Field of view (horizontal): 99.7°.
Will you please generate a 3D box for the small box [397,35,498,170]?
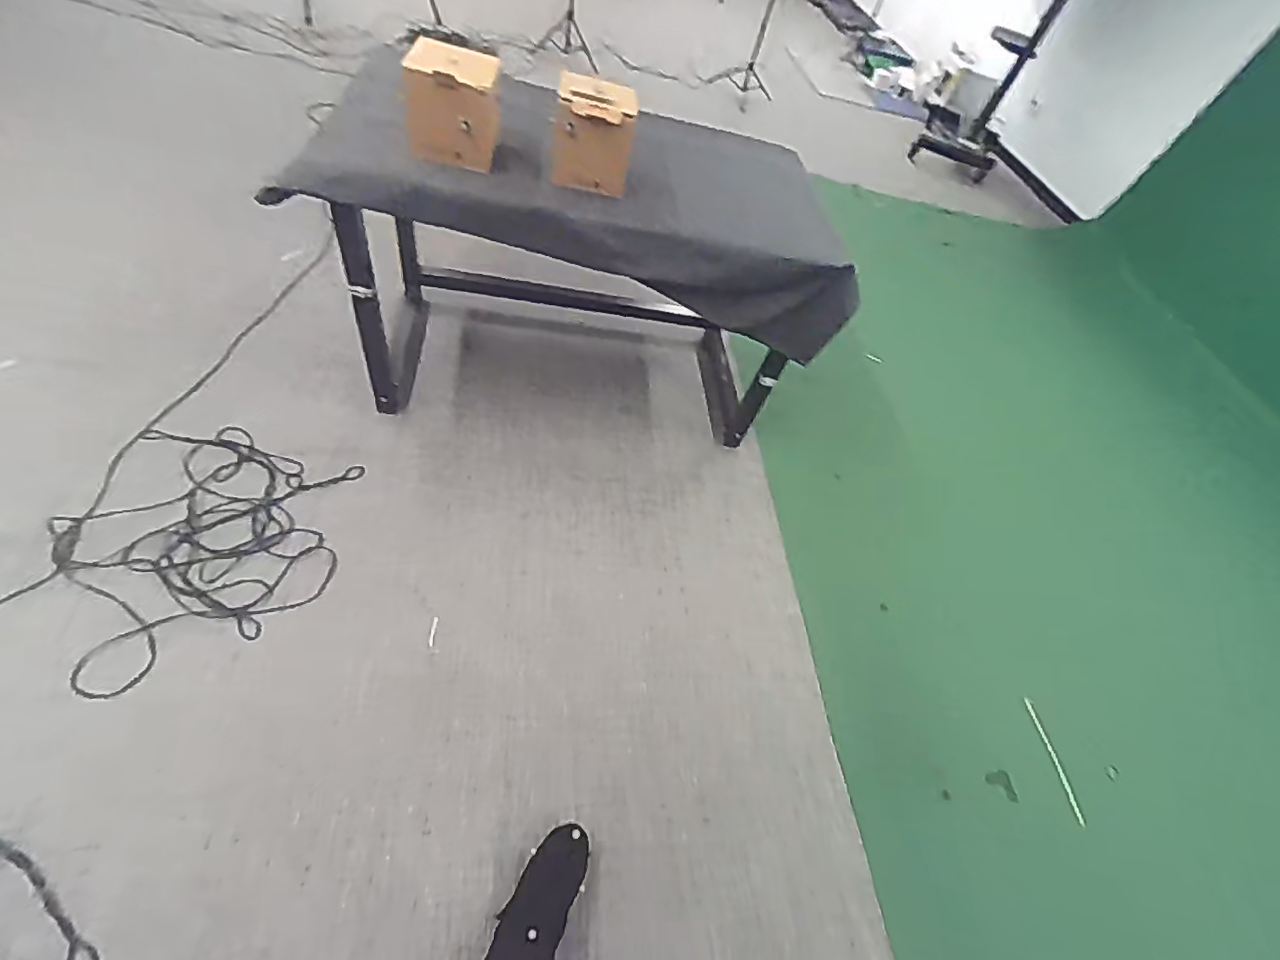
[{"bbox_3d":[-0.395,-0.784,1.132,0.168,0.176,0.179,8,51,-13],"label":"small box"}]
